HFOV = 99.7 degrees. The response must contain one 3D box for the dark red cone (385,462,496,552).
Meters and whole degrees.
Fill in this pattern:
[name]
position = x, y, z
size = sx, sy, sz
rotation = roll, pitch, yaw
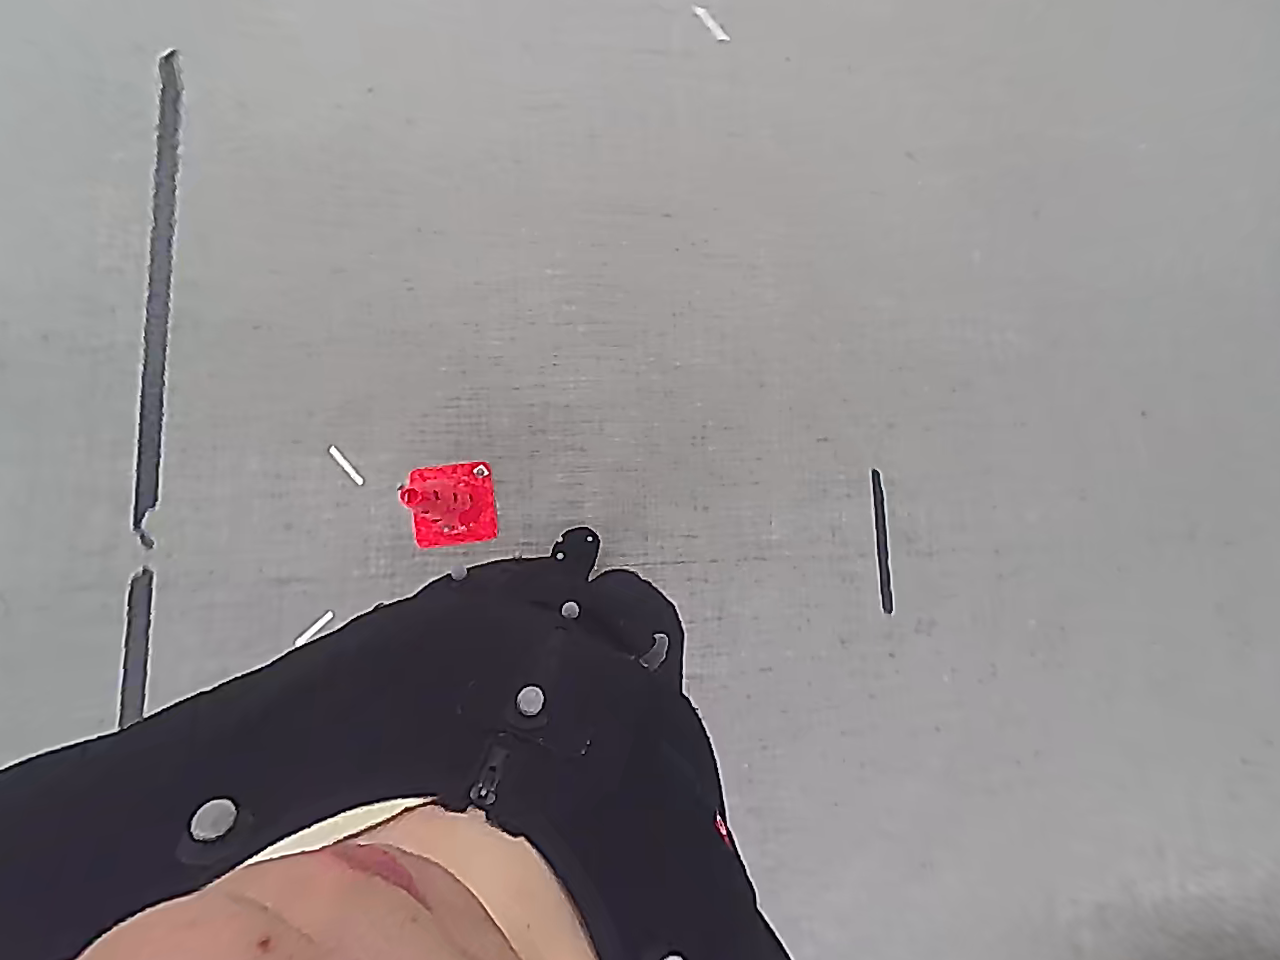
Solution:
[dark red cone]
position = -0.441, 0.050, 1.133
size = 0.201, 0.394, 0.202
rotation = -8, 86, -6
